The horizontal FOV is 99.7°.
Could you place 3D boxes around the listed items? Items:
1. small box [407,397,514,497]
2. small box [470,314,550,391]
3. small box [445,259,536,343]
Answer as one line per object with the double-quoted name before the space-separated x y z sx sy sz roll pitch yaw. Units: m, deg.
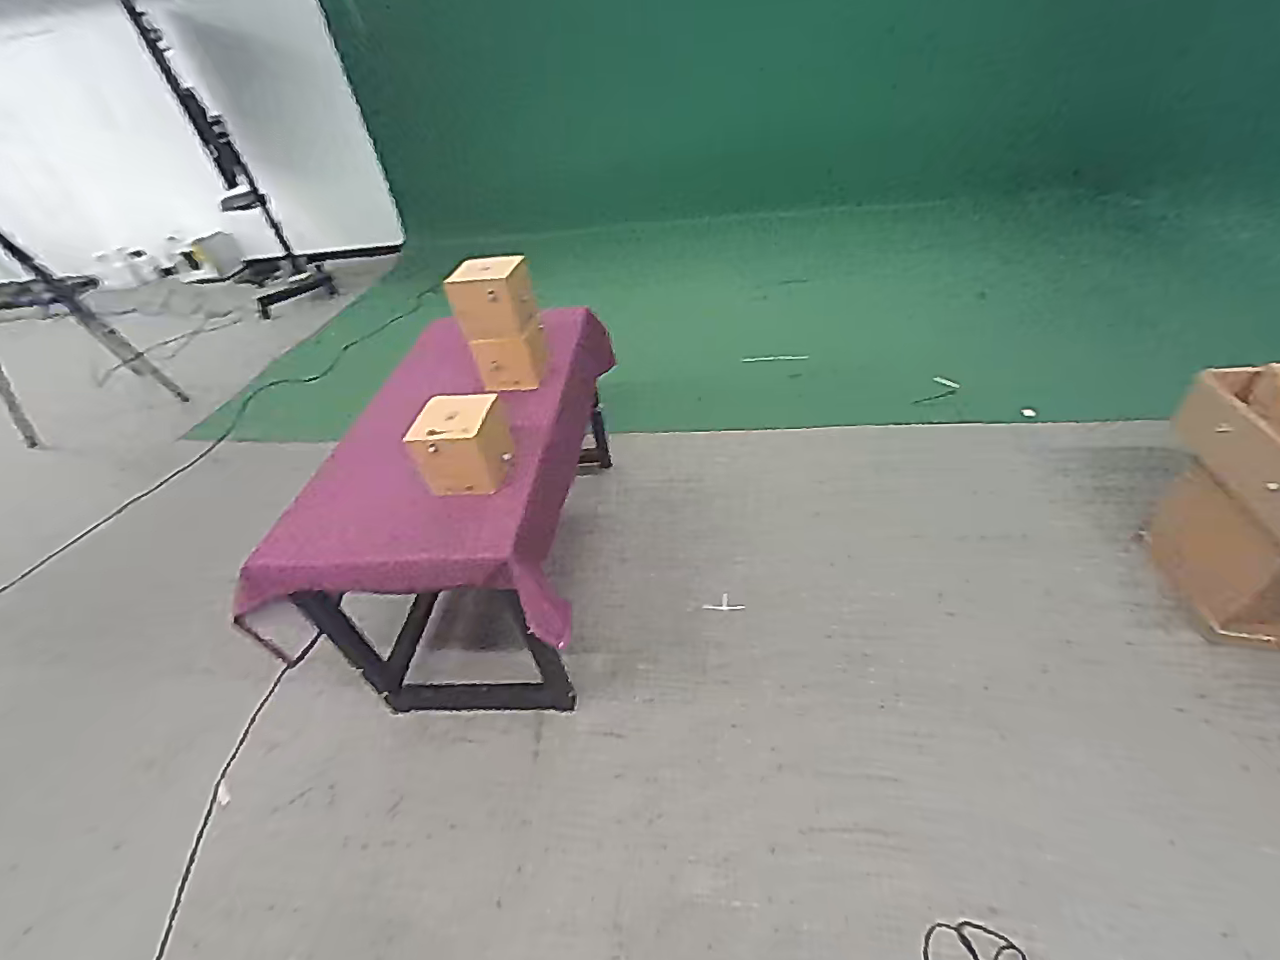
"small box" -0.412 -0.078 1.280 0.168 0.176 0.179 -3 40 9
"small box" -0.380 -0.375 1.619 0.168 0.176 0.179 -2 41 10
"small box" -0.408 -0.499 1.513 0.179 0.176 0.168 0 41 12
